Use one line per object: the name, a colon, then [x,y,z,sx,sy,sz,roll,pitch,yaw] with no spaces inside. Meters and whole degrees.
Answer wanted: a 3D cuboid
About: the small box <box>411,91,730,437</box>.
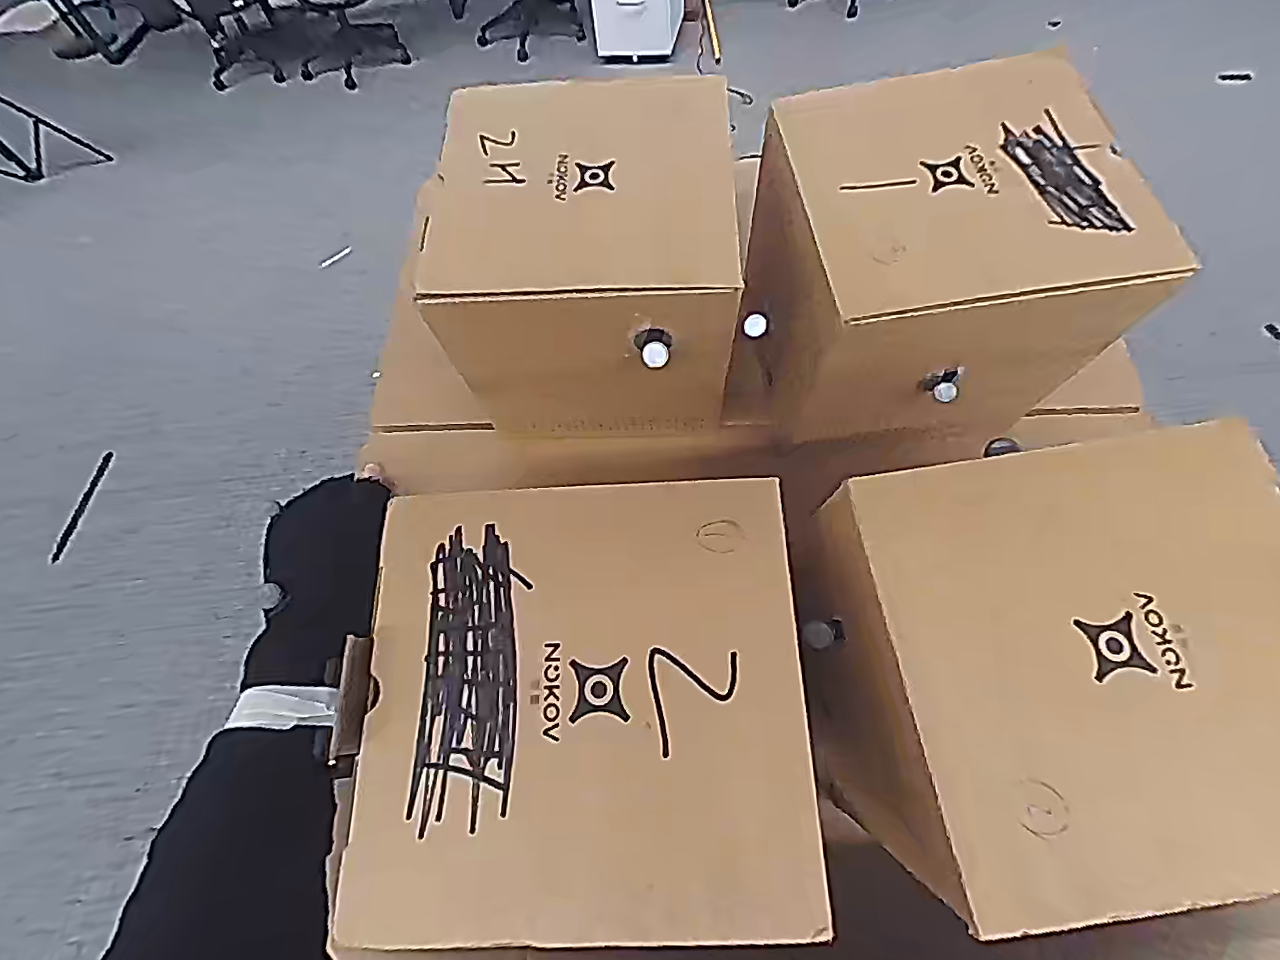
small box: [-0.032,-0.140,0.393,0.179,0.176,0.168,0,67,5]
